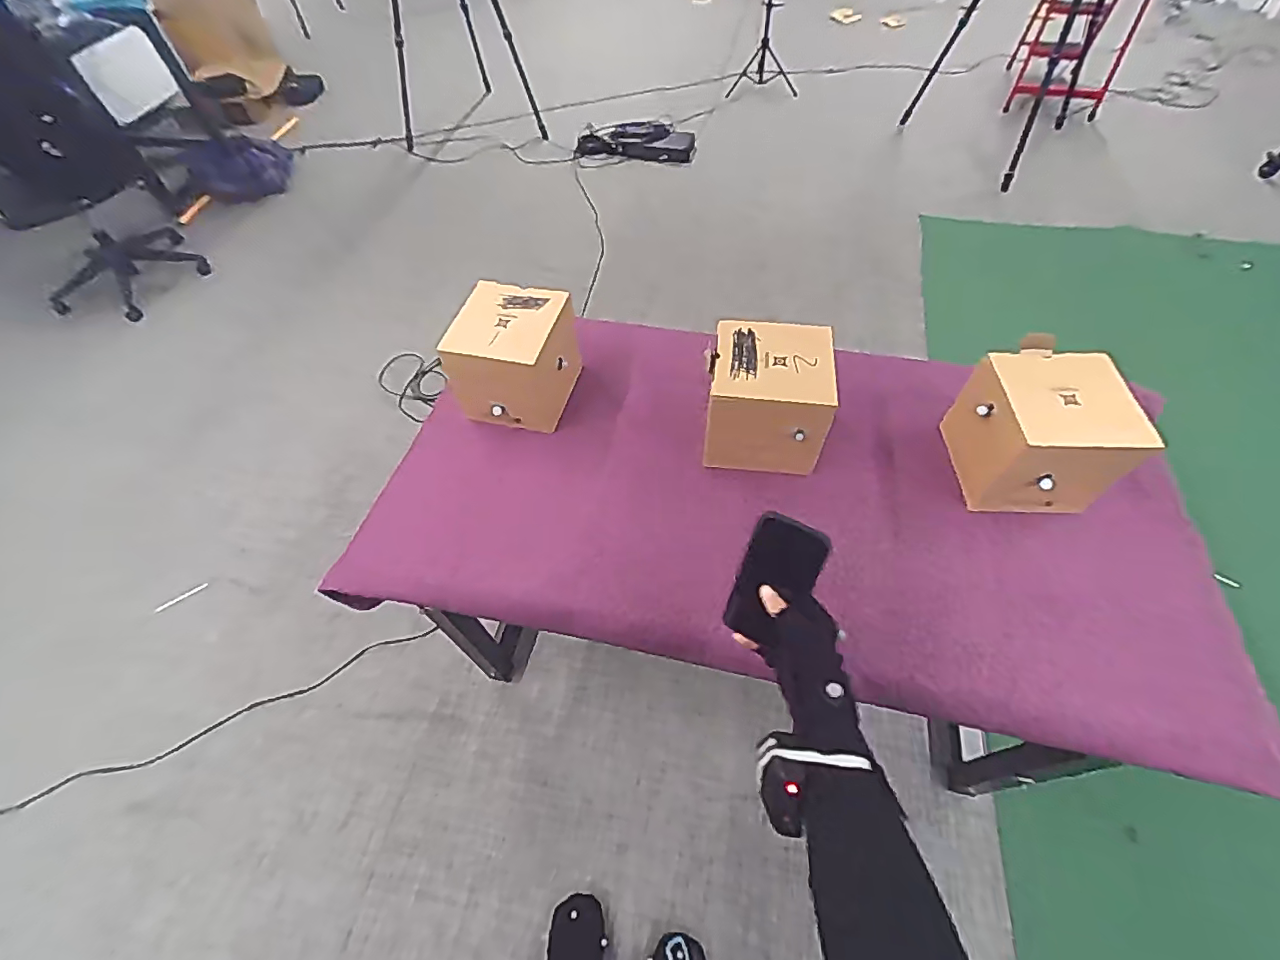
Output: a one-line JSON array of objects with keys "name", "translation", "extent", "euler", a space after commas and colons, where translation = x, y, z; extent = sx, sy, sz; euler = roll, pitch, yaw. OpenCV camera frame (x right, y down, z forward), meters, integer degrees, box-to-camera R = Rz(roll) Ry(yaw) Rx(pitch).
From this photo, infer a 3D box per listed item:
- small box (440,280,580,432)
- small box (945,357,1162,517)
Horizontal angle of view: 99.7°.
[{"name": "small box", "translation": [-0.207, -0.211, 0.929], "extent": [0.168, 0.176, 0.179], "euler": [11, 58, 10]}, {"name": "small box", "translation": [0.581, -0.059, 0.792], "extent": [0.168, 0.176, 0.179], "euler": [1, 55, 4]}]
